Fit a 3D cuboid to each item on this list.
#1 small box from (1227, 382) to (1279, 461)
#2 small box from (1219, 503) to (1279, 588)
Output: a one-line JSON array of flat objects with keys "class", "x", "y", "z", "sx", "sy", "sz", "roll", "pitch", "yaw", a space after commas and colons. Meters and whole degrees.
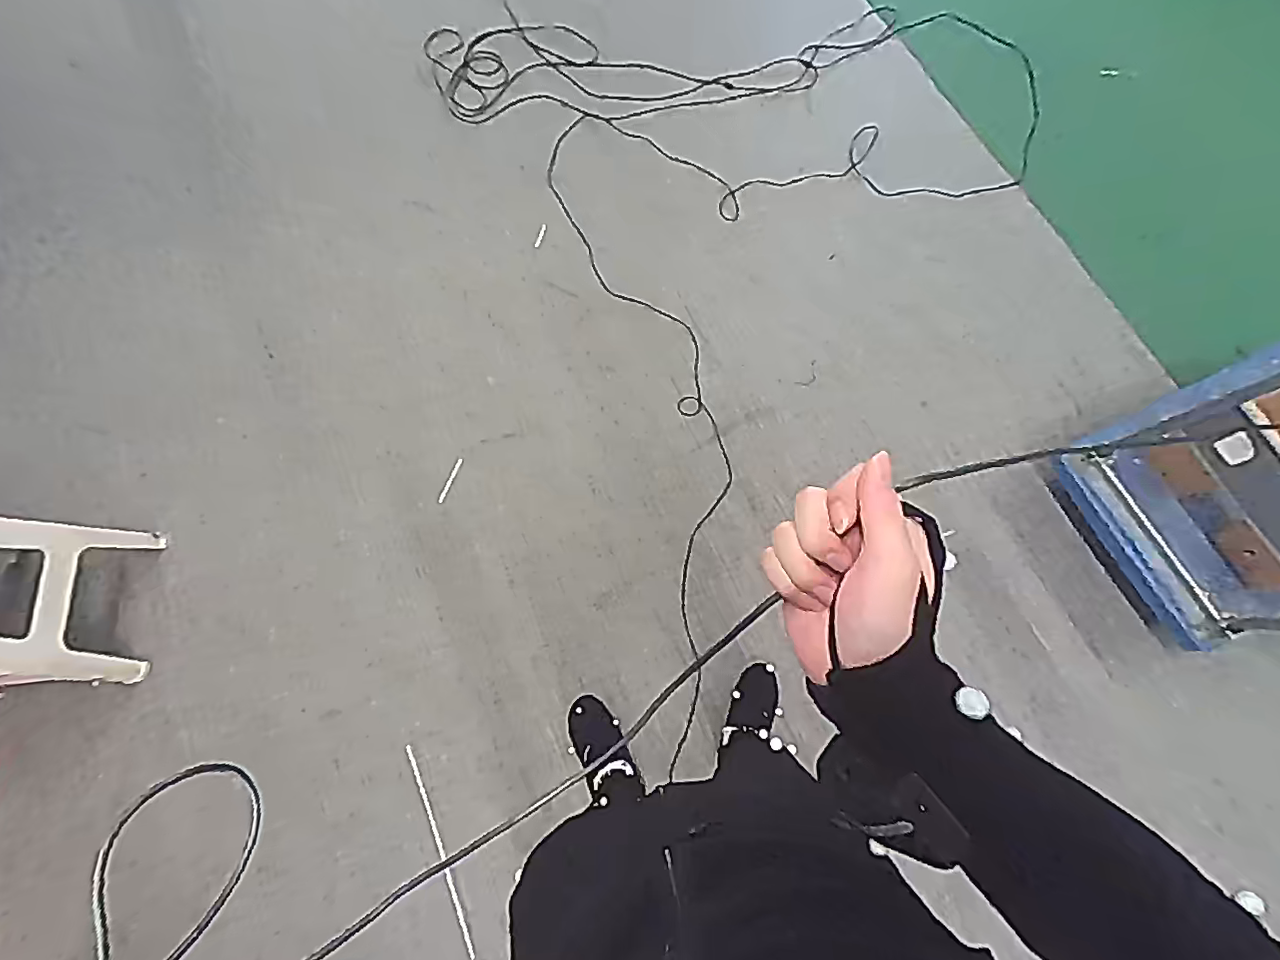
[{"class": "small box", "x": 1.700, "y": -0.173, "z": 1.395, "sx": 0.179, "sy": 0.176, "sz": 0.168, "roll": -27, "pitch": 75, "yaw": -9}, {"class": "small box", "x": 1.577, "y": 0.145, "z": 1.292, "sx": 0.179, "sy": 0.176, "sz": 0.168, "roll": -23, "pitch": 74, "yaw": -7}]
